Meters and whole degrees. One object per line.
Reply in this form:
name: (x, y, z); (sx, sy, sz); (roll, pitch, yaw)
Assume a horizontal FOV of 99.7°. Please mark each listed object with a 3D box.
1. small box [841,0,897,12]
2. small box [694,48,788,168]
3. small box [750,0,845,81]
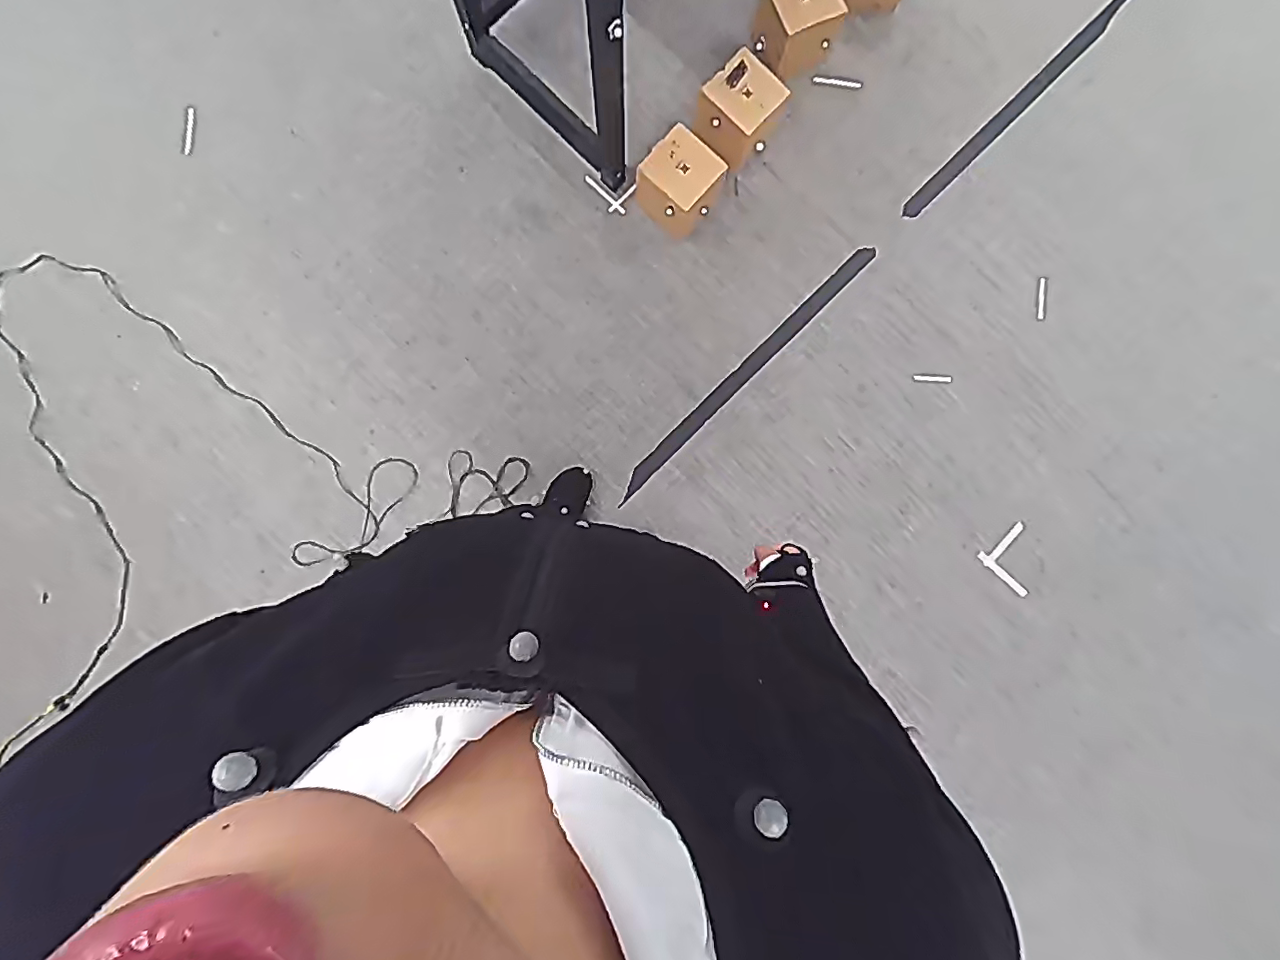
small box: (0.656, -1.458, 1.500); (0.168, 0.176, 0.179); (-2, 88, -1)
small box: (0.267, -1.005, 1.479); (0.179, 0.176, 0.168); (44, 88, -1)
small box: (0.427, -1.260, 1.492); (0.179, 0.176, 0.168); (-24, 88, -1)
